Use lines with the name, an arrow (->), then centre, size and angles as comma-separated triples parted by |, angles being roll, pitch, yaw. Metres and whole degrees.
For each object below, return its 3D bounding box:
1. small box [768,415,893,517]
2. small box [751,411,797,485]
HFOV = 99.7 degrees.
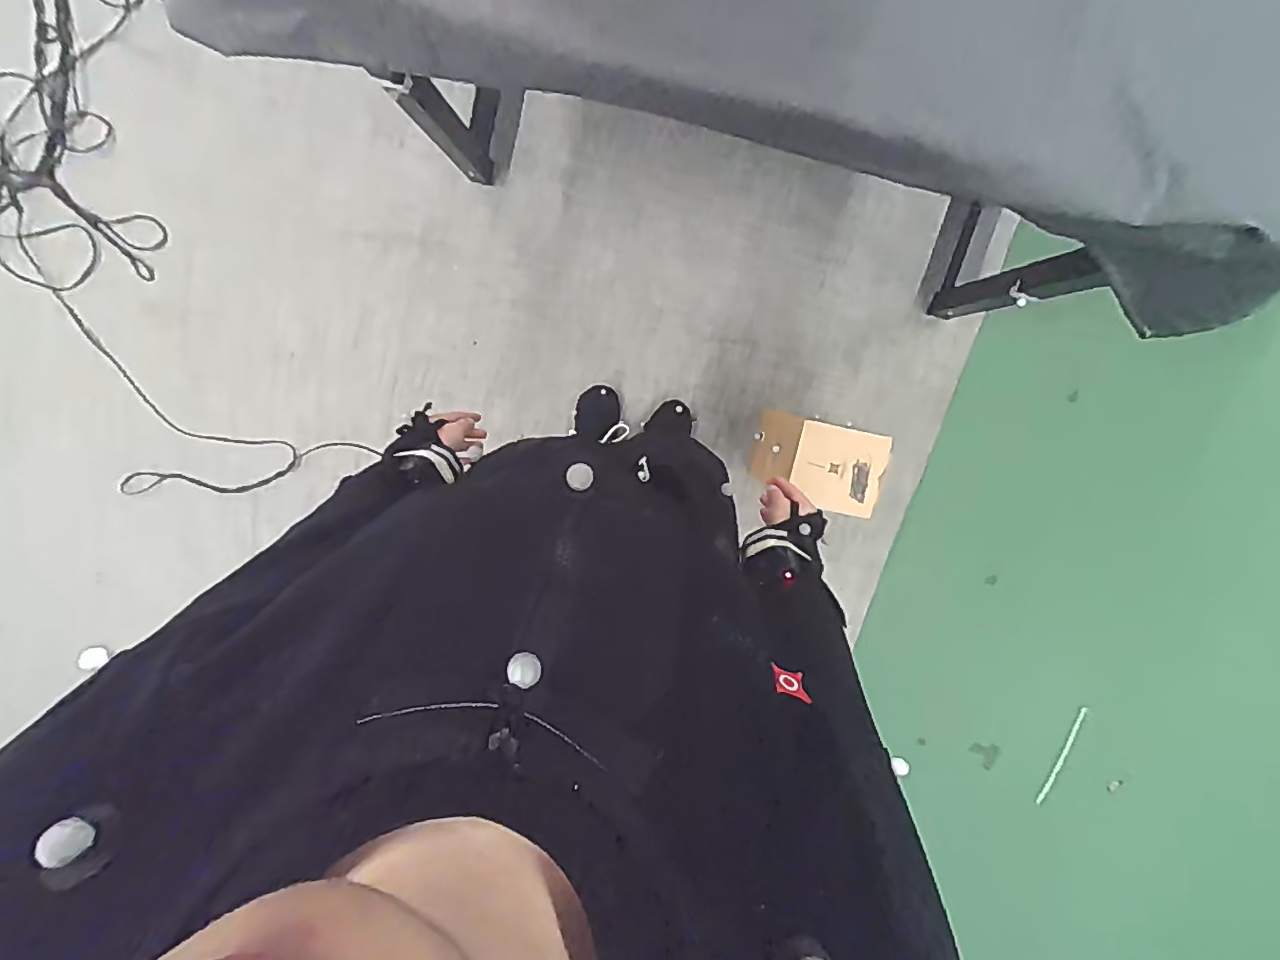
small box -> 0.380, -0.037, 1.111 | 0.179, 0.176, 0.168 | 12, 100, 0
small box -> 0.375, -0.066, 1.272 | 0.179, 0.176, 0.168 | 12, 100, -1
